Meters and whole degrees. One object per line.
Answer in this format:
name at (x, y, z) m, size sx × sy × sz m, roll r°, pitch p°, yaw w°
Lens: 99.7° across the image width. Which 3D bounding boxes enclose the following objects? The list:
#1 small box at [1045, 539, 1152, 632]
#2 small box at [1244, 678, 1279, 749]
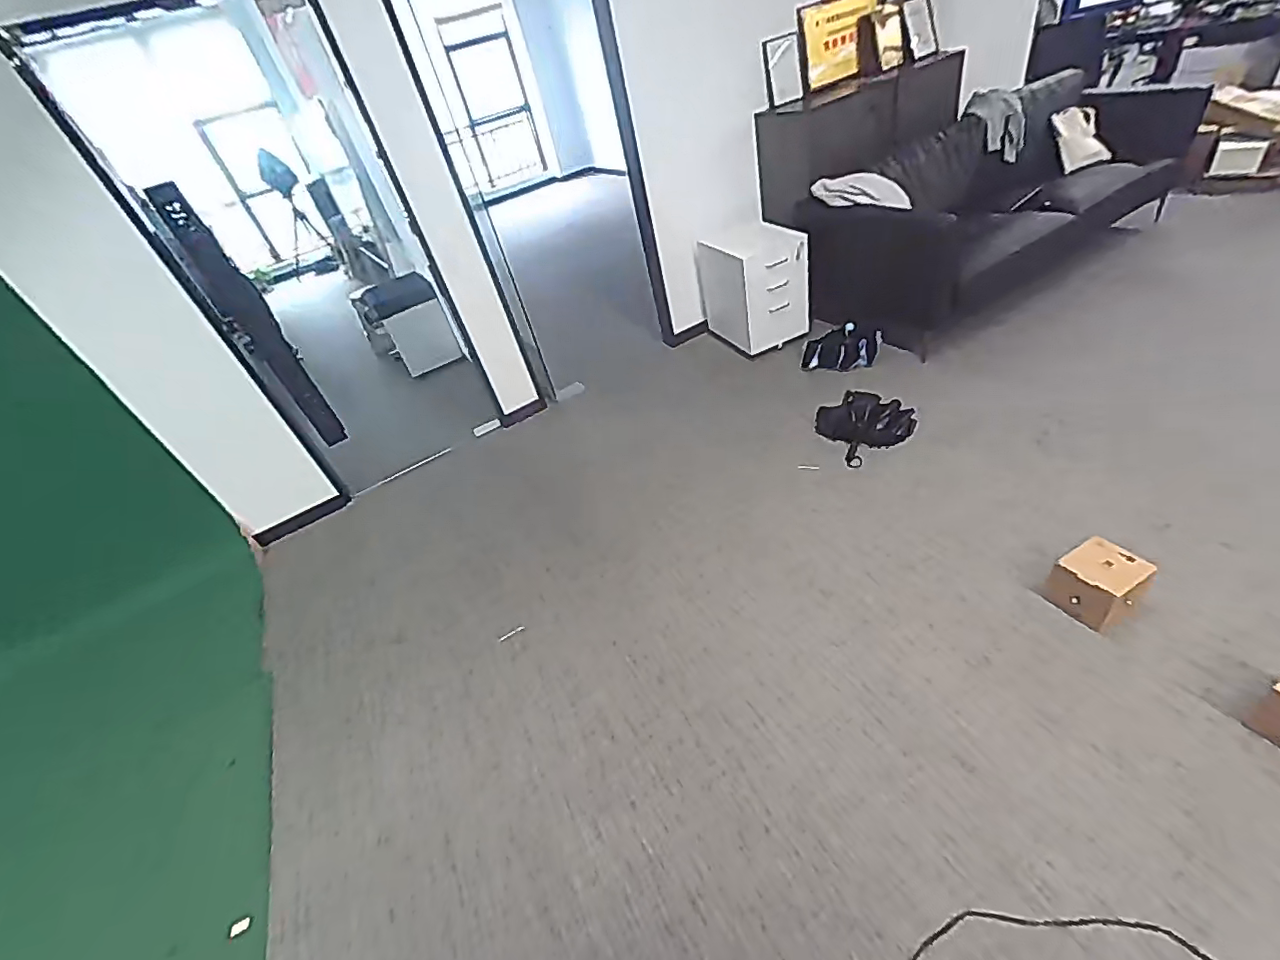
small box at (1.343, 0.314, 1.598) m, size 0.179 × 0.176 × 0.168 m, roll -27°, pitch 39°, yaw -13°
small box at (1.561, 0.536, 1.236) m, size 0.179 × 0.176 × 0.168 m, roll -28°, pitch 38°, yaw -12°
